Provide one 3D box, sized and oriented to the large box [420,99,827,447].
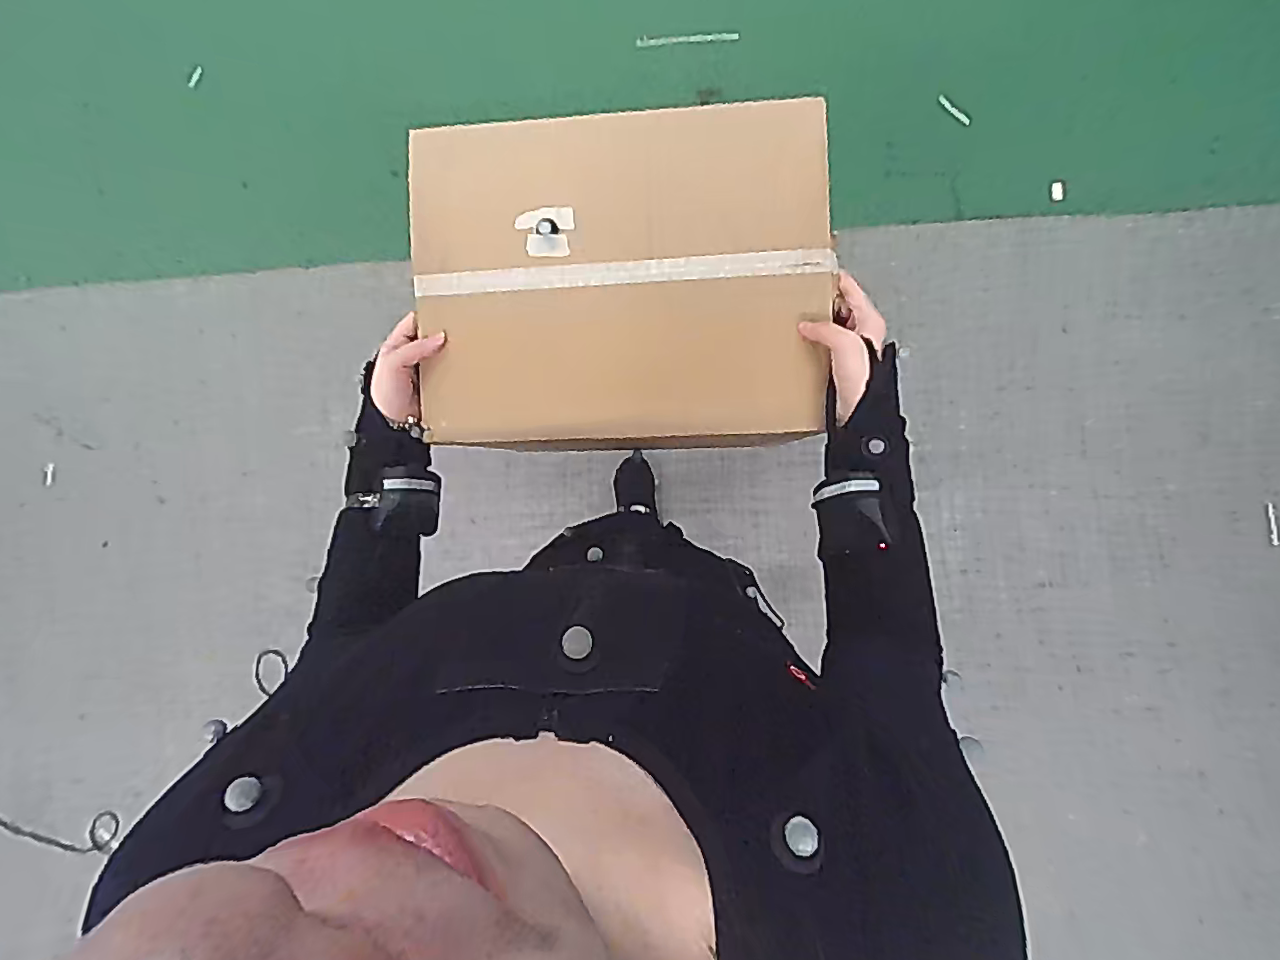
[{"bbox_3d":[-0.006,-0.207,0.685,0.408,0.320,0.320,-2,91,6],"label":"large box"}]
